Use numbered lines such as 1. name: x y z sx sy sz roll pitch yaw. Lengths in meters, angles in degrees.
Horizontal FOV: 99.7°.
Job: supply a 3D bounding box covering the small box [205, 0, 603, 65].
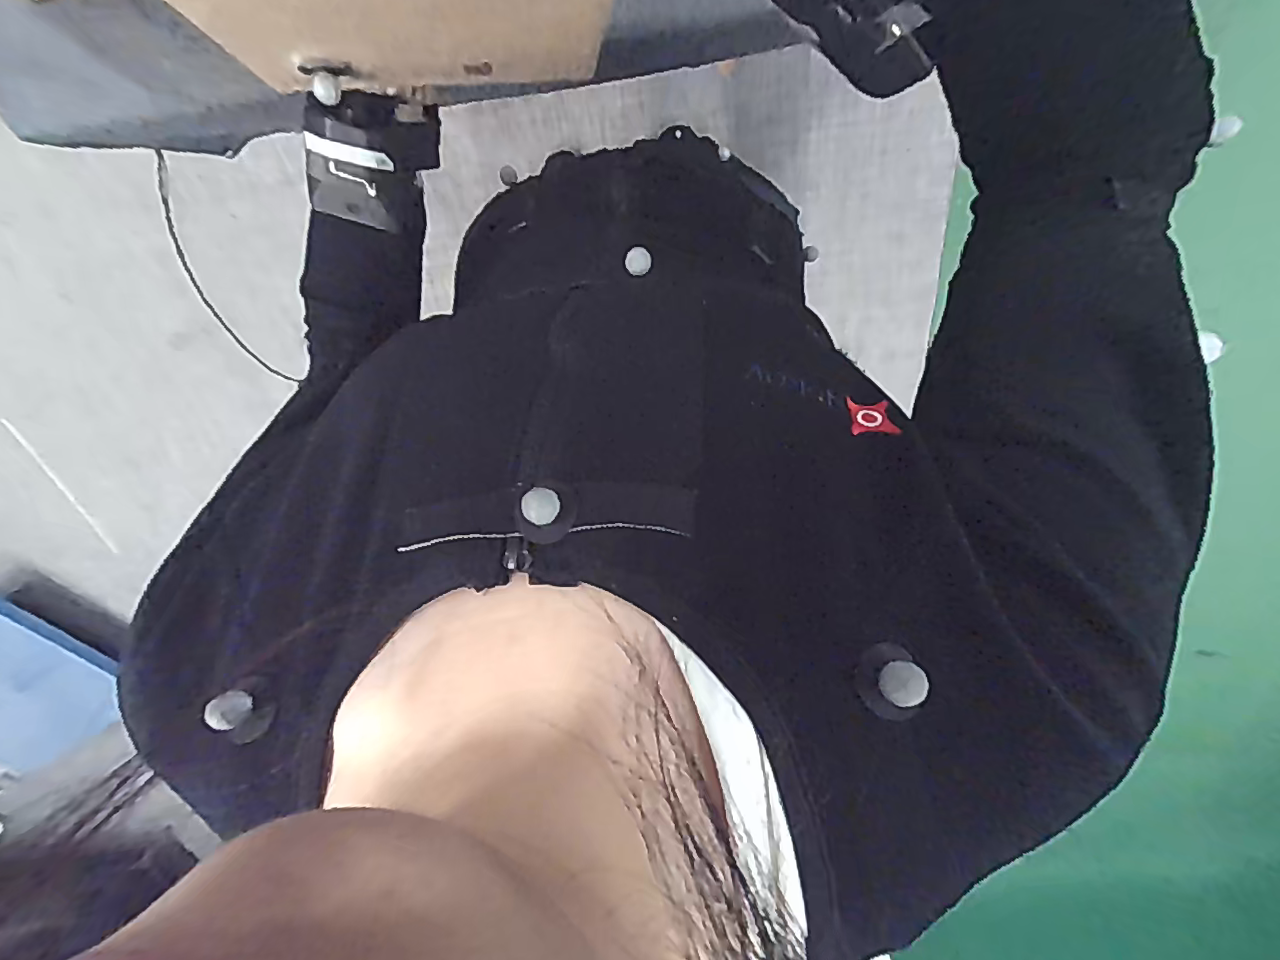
1. small box: -0.097 -0.266 0.175 0.168 0.176 0.179 -9 108 -7
